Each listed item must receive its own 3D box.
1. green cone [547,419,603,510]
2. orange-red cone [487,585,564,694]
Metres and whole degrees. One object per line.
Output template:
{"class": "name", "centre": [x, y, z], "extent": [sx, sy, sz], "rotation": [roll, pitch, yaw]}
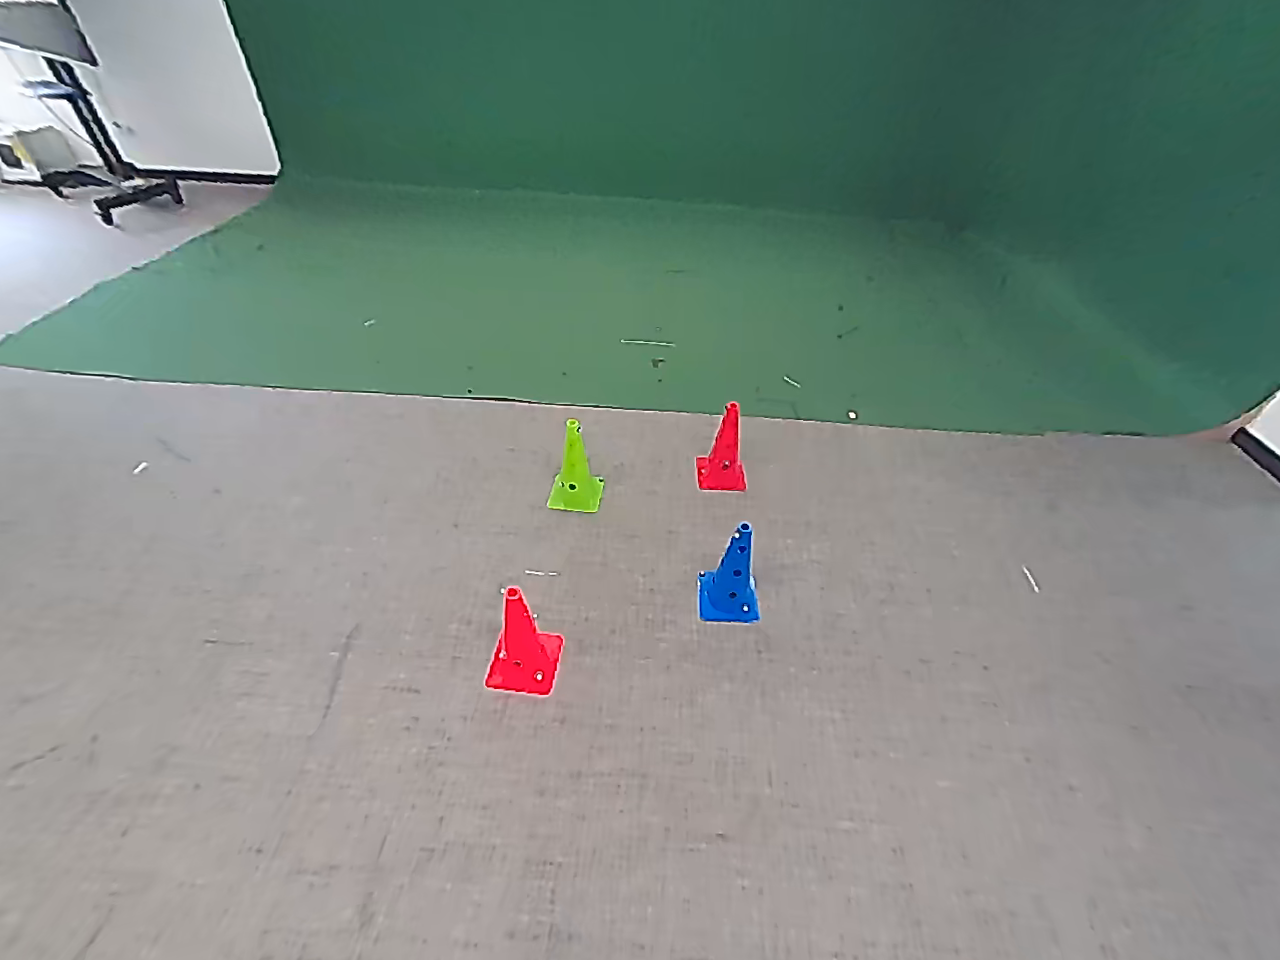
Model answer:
{"class": "green cone", "centre": [-0.252, -0.082, 2.048], "extent": [0.200, 0.368, 0.202], "rotation": [5, 44, 3]}
{"class": "orange-red cone", "centre": [-0.332, 0.414, 1.516], "extent": [0.198, 0.360, 0.199], "rotation": [7, 42, 3]}
